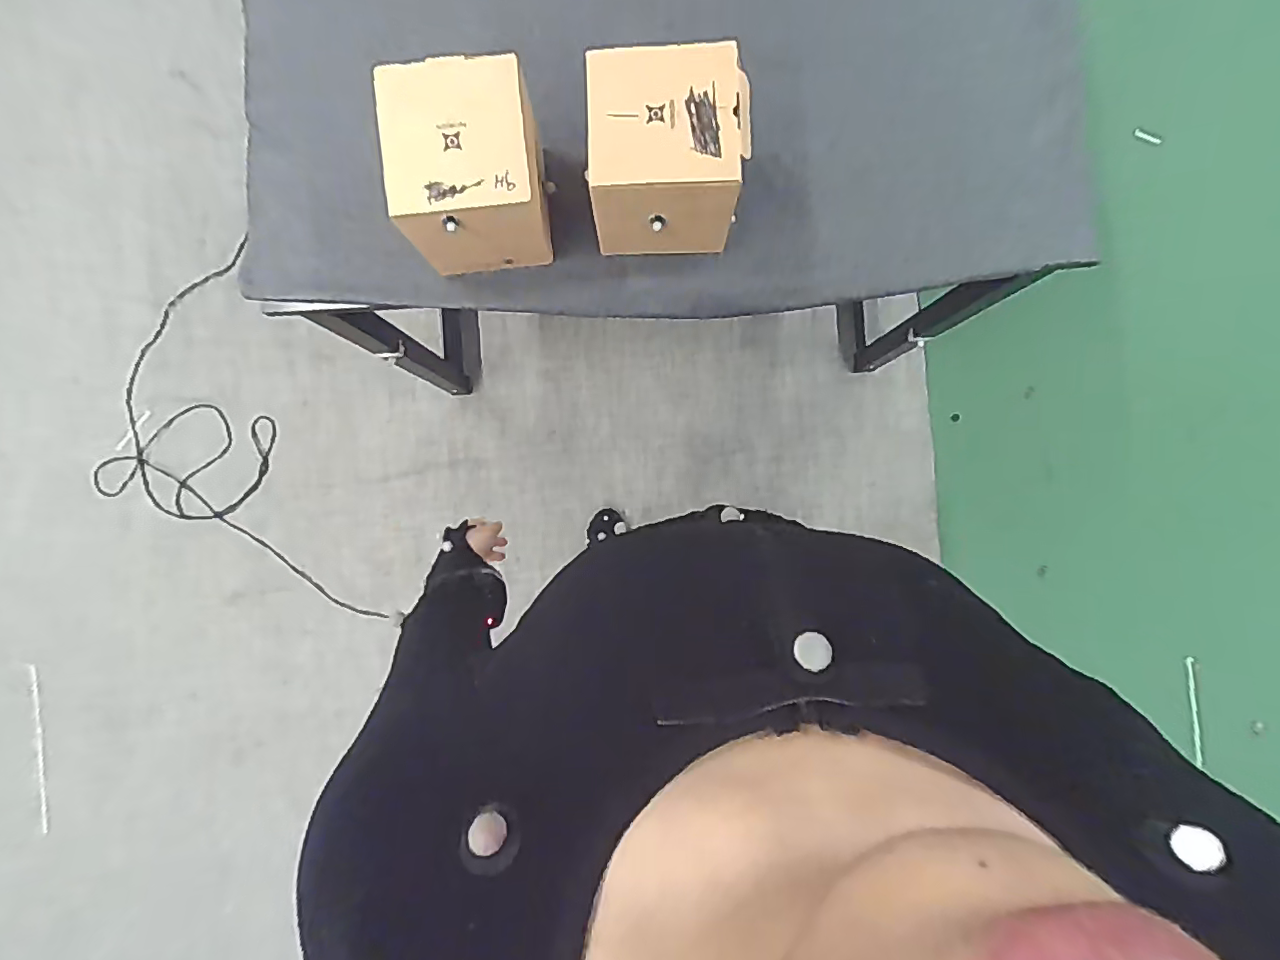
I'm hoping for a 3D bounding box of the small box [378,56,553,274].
[{"bbox_3d":[-0.212,-0.389,0.694,0.168,0.176,0.179,-5,88,1],"label":"small box"}]
